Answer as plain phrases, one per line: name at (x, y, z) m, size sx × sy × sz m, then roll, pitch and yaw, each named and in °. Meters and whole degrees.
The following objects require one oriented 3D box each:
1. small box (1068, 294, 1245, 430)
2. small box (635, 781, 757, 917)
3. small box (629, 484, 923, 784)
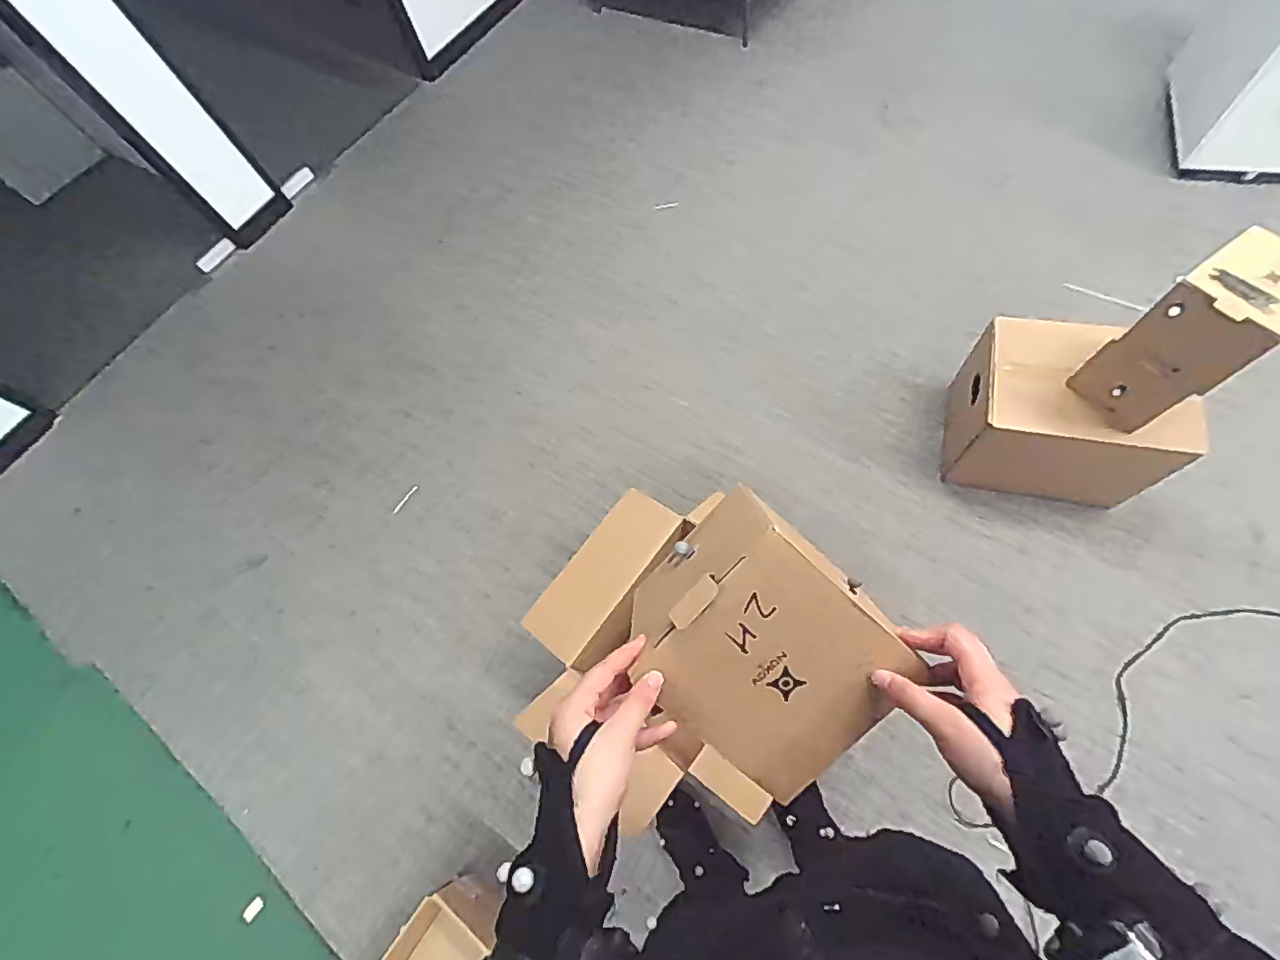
small box at (1.034, -0.235, 1.108) m, size 0.179 × 0.176 × 0.168 m, roll -35°, pitch 66°, yaw -6°
small box at (0.120, 0.756, 1.114) m, size 0.176 × 0.168 × 0.179 m, roll 33°, pitch 46°, yaw -8°
small box at (0.110, 0.125, 0.507) m, size 0.179 × 0.176 × 0.168 m, roll 41°, pitch 99°, yaw -6°
